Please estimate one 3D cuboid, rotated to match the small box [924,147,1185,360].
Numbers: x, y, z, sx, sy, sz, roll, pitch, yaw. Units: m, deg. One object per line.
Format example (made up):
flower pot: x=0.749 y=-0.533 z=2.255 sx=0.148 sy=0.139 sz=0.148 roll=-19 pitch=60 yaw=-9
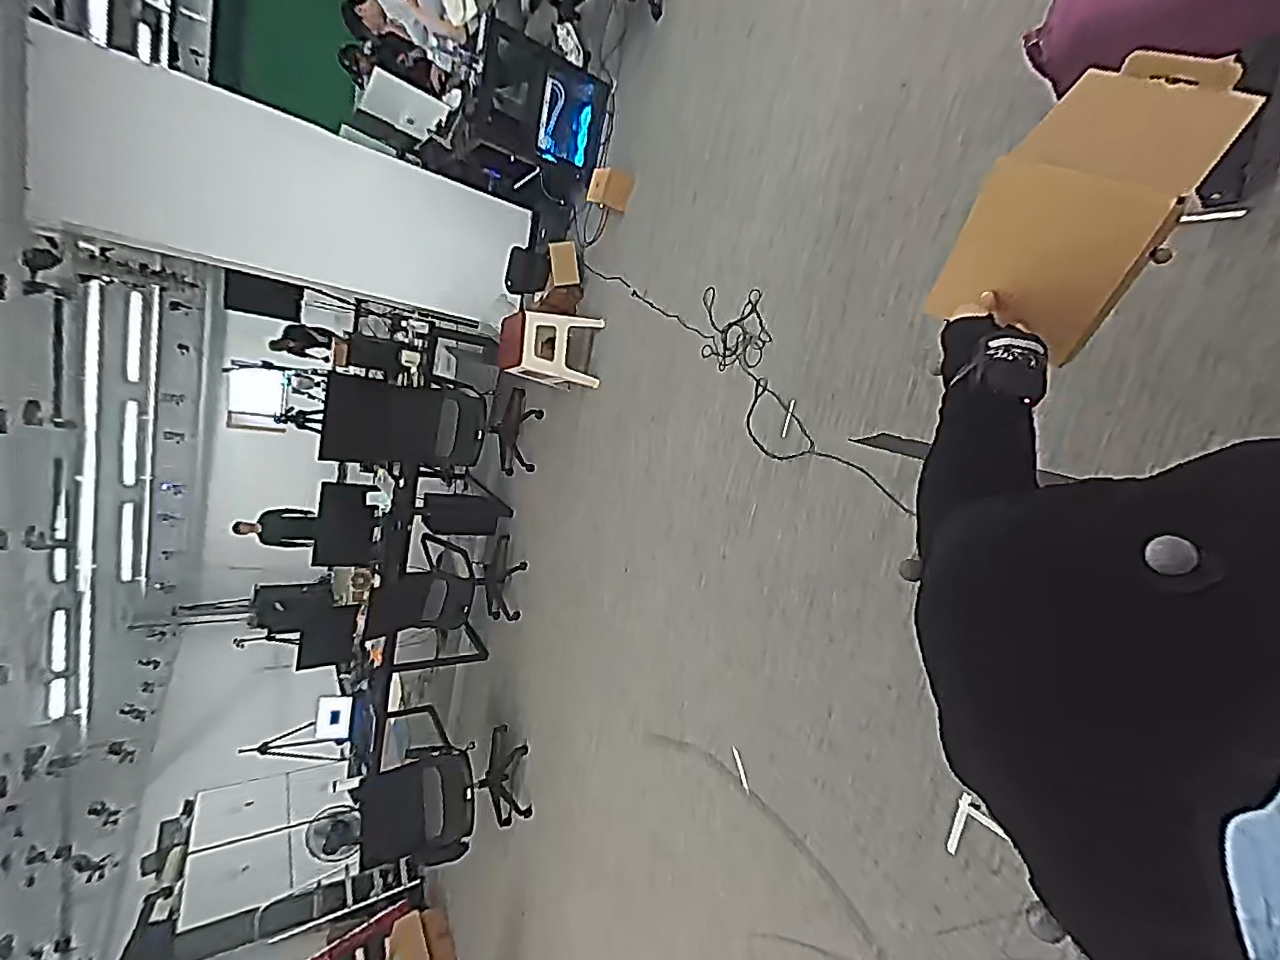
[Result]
small box: x=0.480 y=-0.262 z=0.640 sx=0.168 sy=0.176 sz=0.179 roll=39 pitch=128 yaw=29
